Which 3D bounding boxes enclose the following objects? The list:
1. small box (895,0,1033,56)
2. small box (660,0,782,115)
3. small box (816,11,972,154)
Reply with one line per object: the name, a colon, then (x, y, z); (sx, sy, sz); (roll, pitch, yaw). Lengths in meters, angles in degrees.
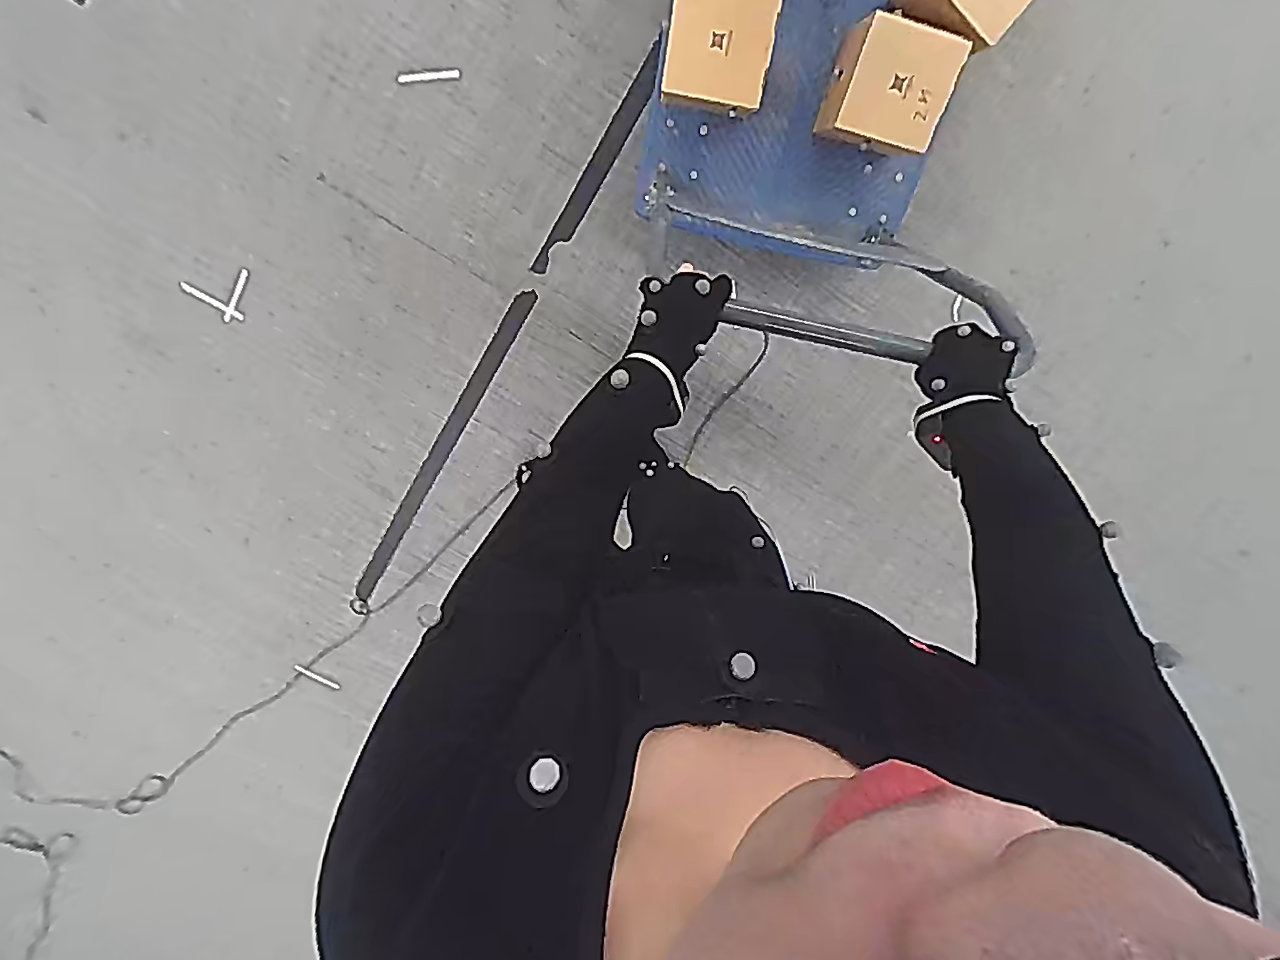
small box: (0.566, -0.850, 0.898); (0.168, 0.176, 0.179); (34, 116, -15)
small box: (0.134, -0.768, 0.964); (0.179, 0.176, 0.168); (8, 120, -4)
small box: (0.445, -0.708, 0.985); (0.179, 0.176, 0.168); (14, 120, -5)
